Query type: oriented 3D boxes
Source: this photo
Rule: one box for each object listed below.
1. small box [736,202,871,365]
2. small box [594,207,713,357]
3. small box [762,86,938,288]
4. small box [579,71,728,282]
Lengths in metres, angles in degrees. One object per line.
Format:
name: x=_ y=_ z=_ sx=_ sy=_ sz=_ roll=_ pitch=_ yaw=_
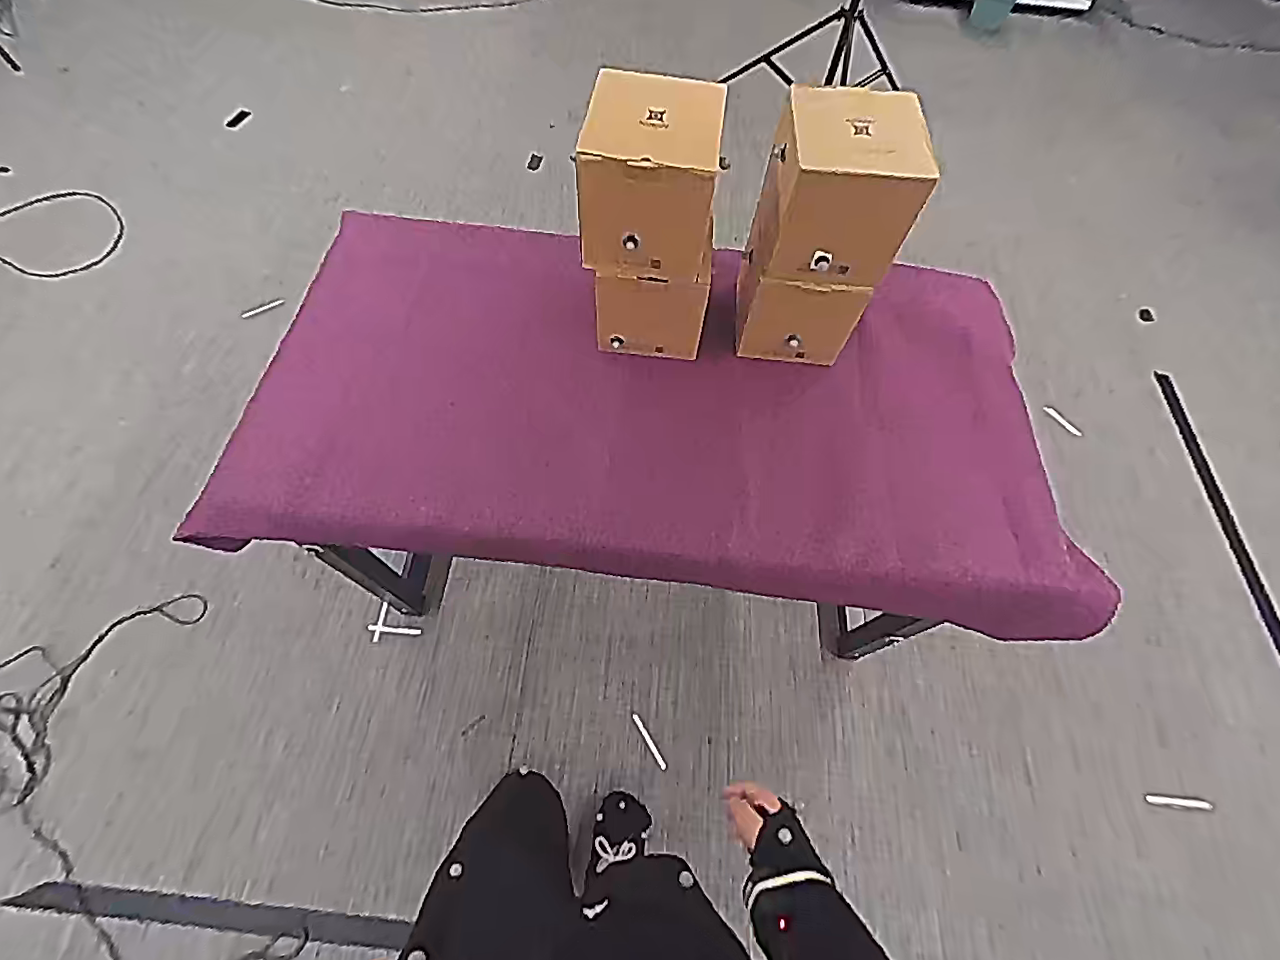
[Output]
small box: x=0.253 y=-0.313 z=0.876 sx=0.168 sy=0.176 sz=0.179 roll=5 pitch=64 yaw=1
small box: x=0.021 y=-0.319 z=0.867 sx=0.168 sy=0.176 sz=0.179 roll=6 pitch=63 yaw=0
small box: x=0.266 y=-0.390 z=0.733 sx=0.168 sy=0.176 sz=0.179 roll=3 pitch=64 yaw=0
small box: x=0.016 y=-0.398 z=0.724 sx=0.168 sy=0.176 sz=0.179 roll=8 pitch=65 yaw=1
